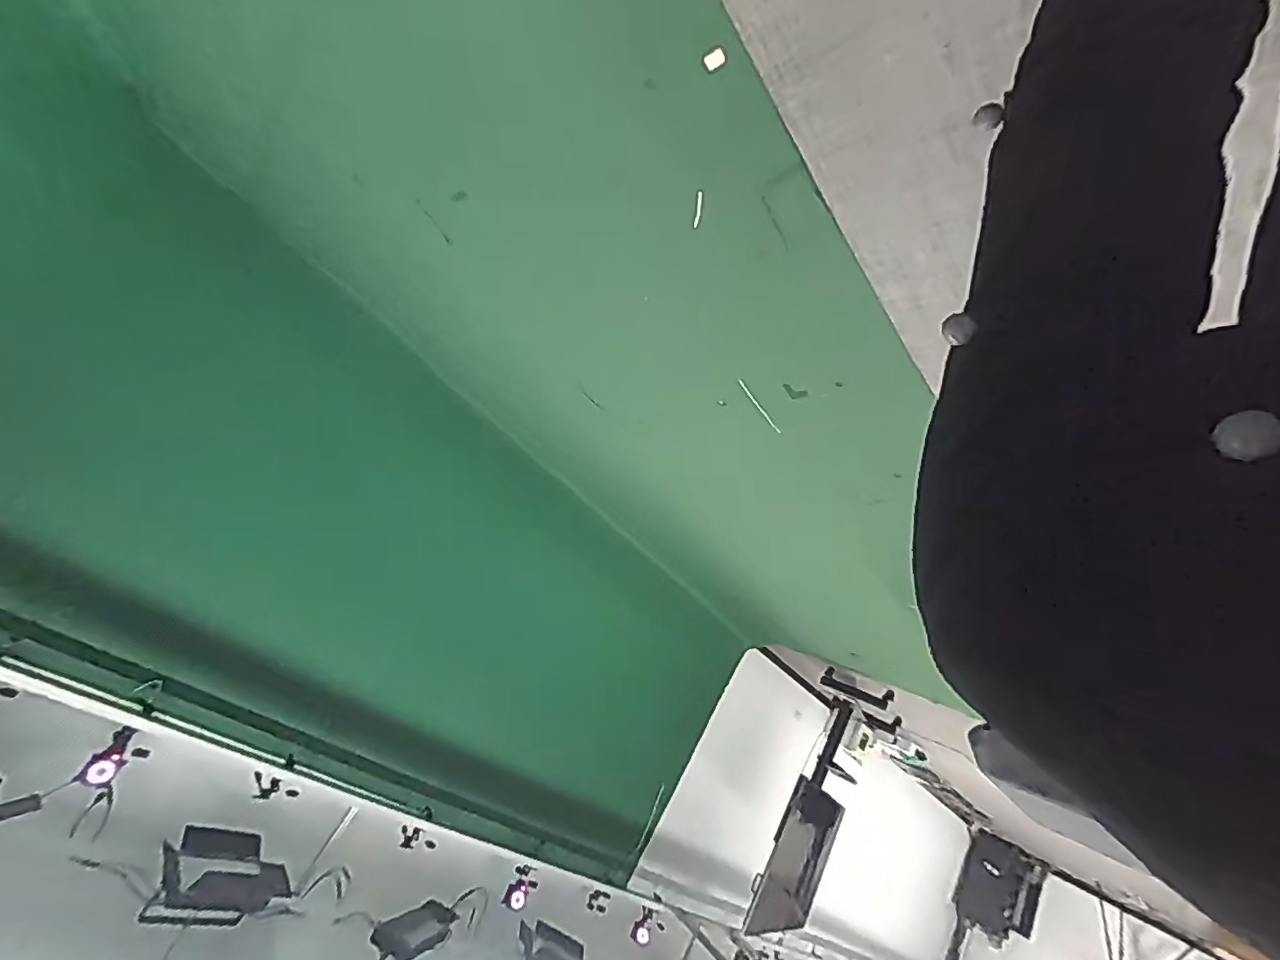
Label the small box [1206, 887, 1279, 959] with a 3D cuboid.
[{"bbox_3d":[1.672,1.235,1.450,0.168,0.176,0.179,42,161,-29],"label":"small box"}]
